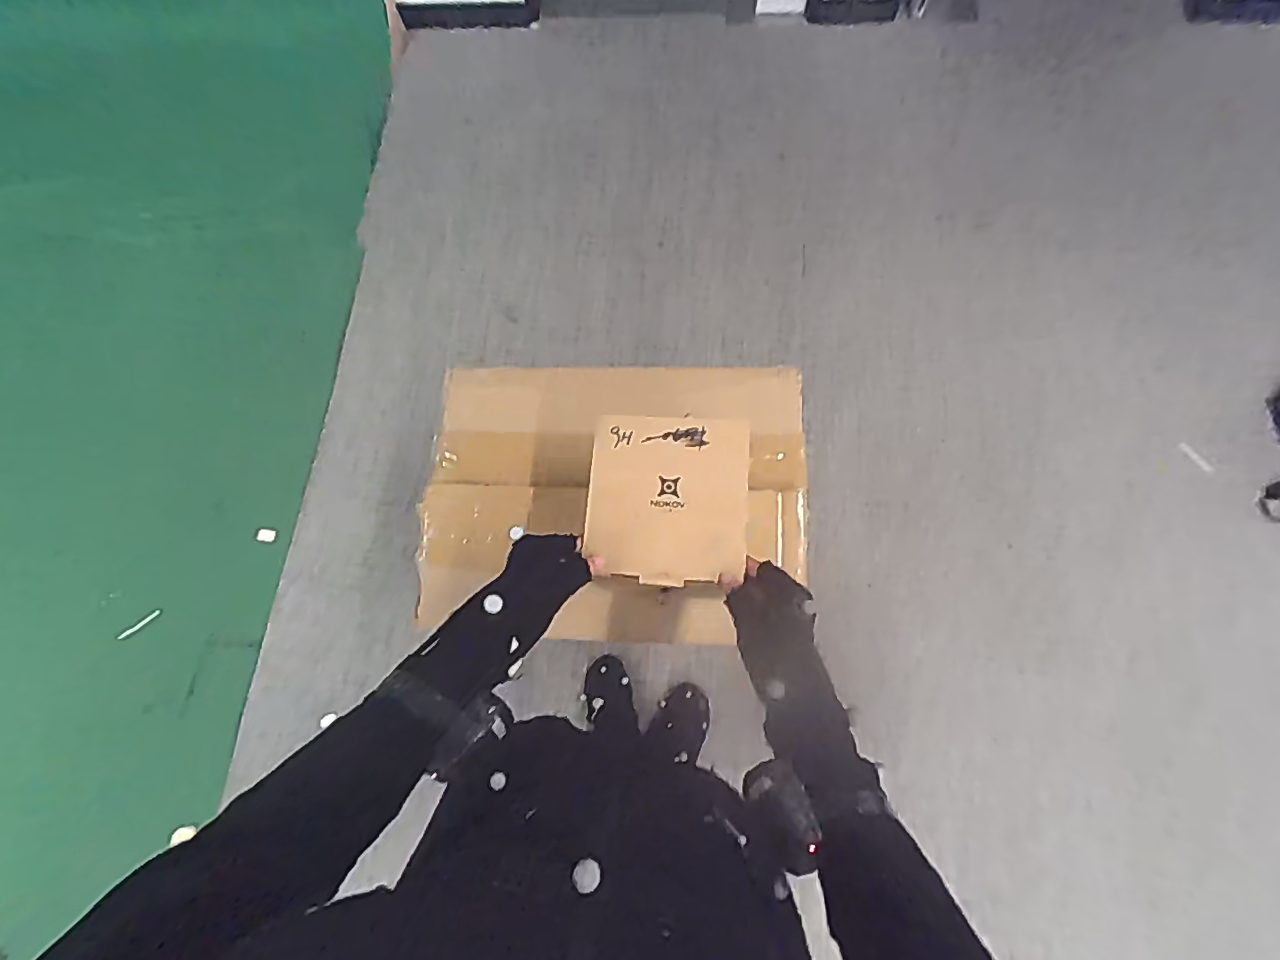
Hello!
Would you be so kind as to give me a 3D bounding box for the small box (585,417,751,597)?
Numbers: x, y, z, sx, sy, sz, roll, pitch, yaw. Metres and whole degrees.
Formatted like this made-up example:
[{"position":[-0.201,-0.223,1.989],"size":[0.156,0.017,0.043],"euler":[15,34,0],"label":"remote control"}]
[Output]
[{"position":[0.037,0.041,0.637],"size":[0.168,0.176,0.179],"euler":[3,73,4],"label":"small box"}]
